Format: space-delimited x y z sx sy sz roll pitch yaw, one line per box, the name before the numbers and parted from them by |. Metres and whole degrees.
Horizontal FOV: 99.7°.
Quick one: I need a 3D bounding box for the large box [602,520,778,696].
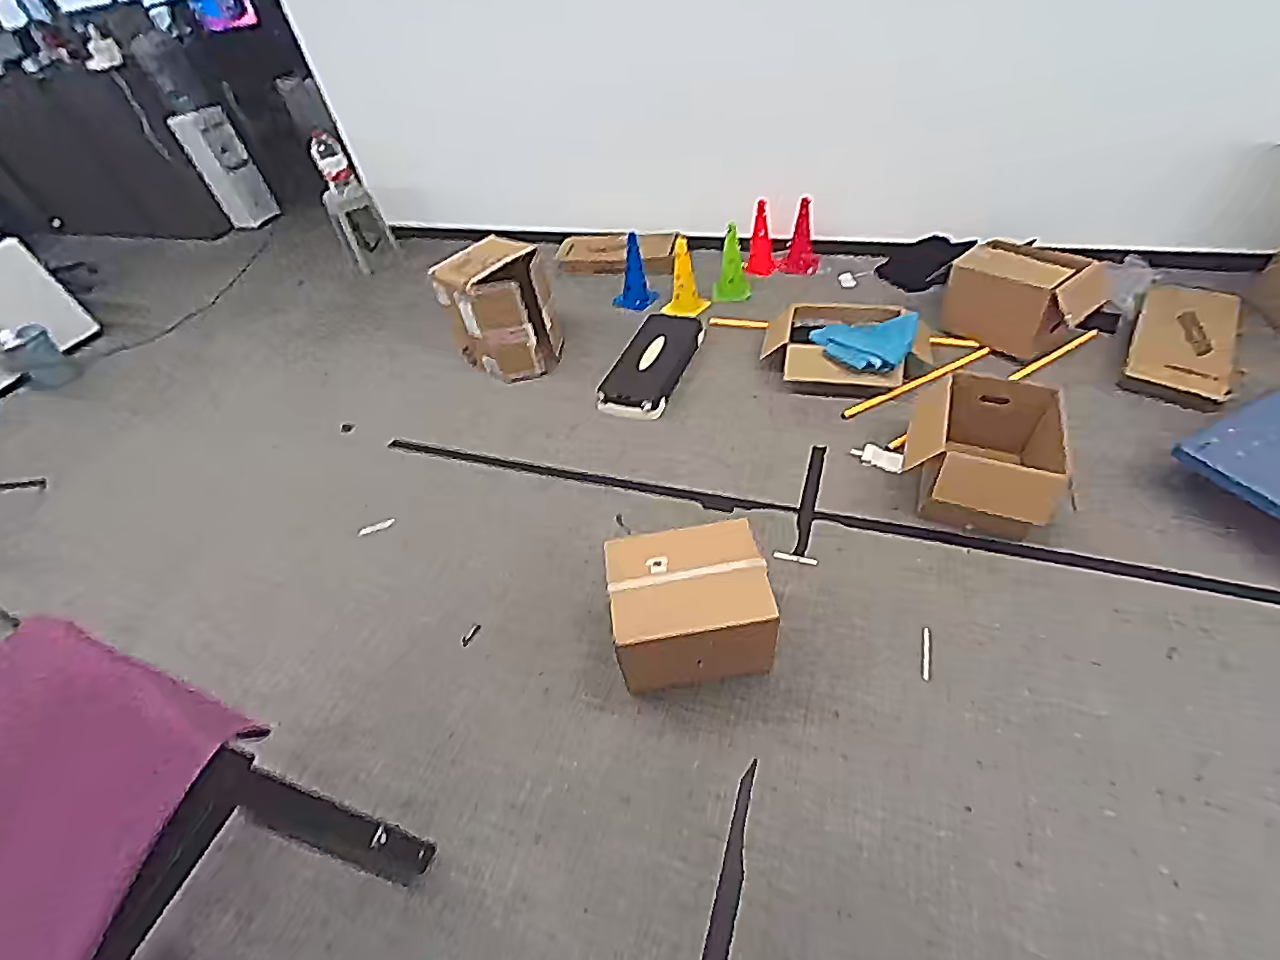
large box | 0.133 0.355 1.488 0.408 0.320 0.320 -11 46 0
